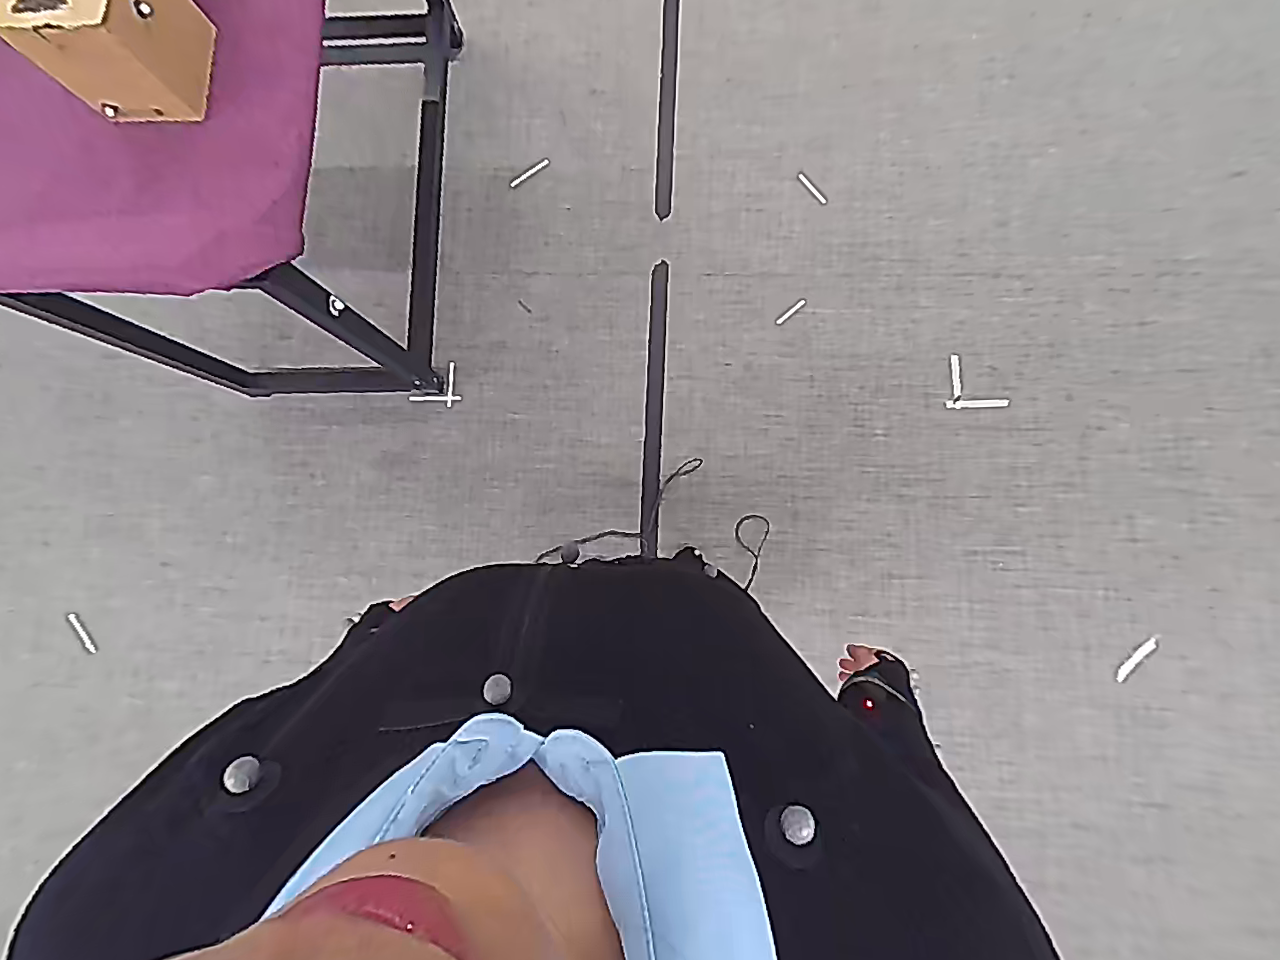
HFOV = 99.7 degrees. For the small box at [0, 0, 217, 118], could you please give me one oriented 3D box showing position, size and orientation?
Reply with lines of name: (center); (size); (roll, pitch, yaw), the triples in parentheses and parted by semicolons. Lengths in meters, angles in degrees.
small box: (-0.799, -0.693, 0.831); (0.168, 0.176, 0.179); (1, 82, 2)
